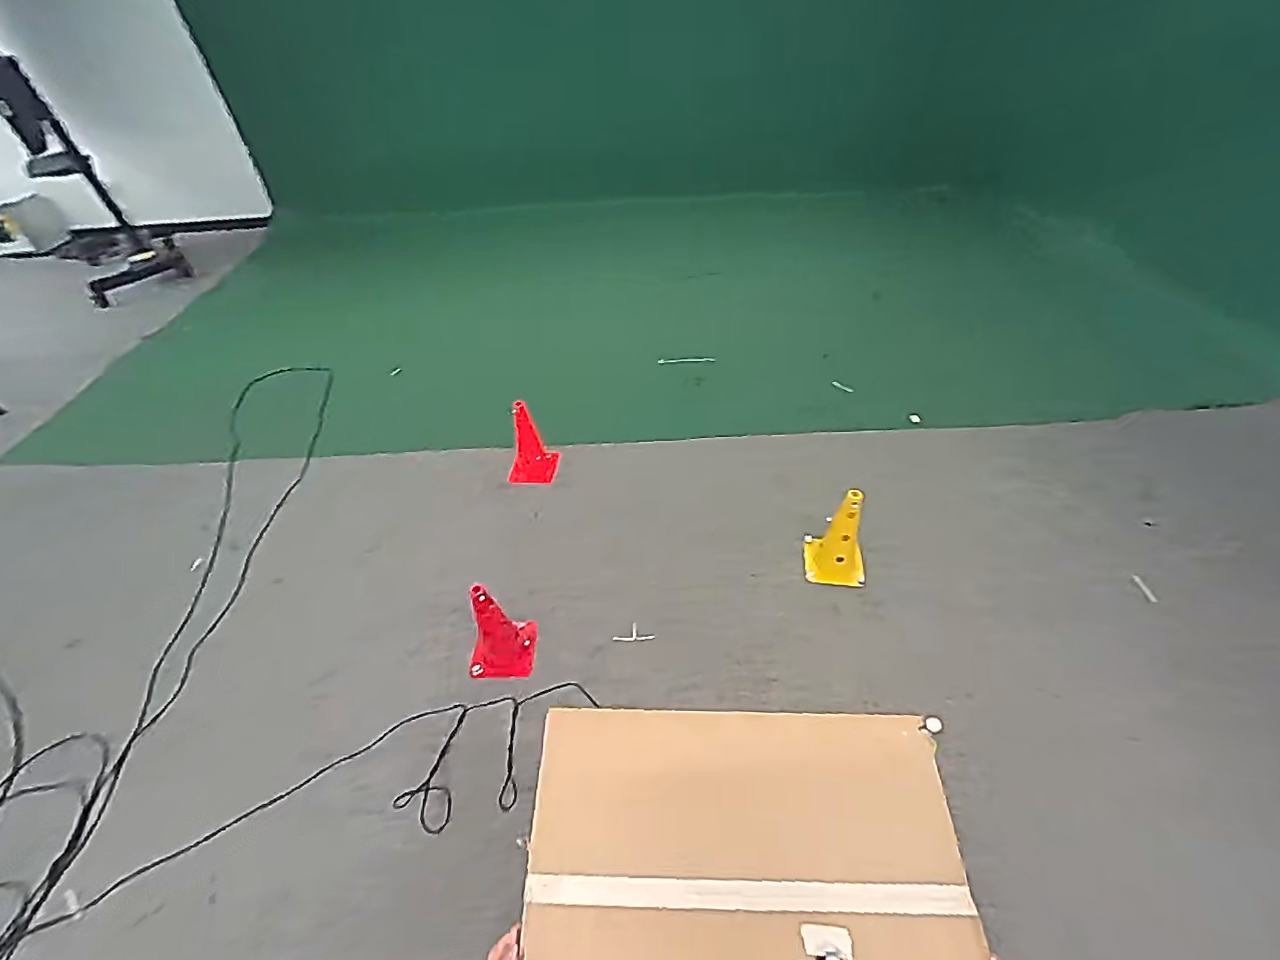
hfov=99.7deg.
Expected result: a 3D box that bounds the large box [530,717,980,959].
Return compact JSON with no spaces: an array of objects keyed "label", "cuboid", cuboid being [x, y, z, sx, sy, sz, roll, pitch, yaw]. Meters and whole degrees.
[{"label":"large box","cuboid":[0.100,0.475,0.618,0.408,0.320,0.320,-1,54,1]}]

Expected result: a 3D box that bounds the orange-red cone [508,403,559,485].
[{"label":"orange-red cone","cuboid":[-0.482,-0.168,2.279,0.199,0.360,0.198,2,44,8]}]
